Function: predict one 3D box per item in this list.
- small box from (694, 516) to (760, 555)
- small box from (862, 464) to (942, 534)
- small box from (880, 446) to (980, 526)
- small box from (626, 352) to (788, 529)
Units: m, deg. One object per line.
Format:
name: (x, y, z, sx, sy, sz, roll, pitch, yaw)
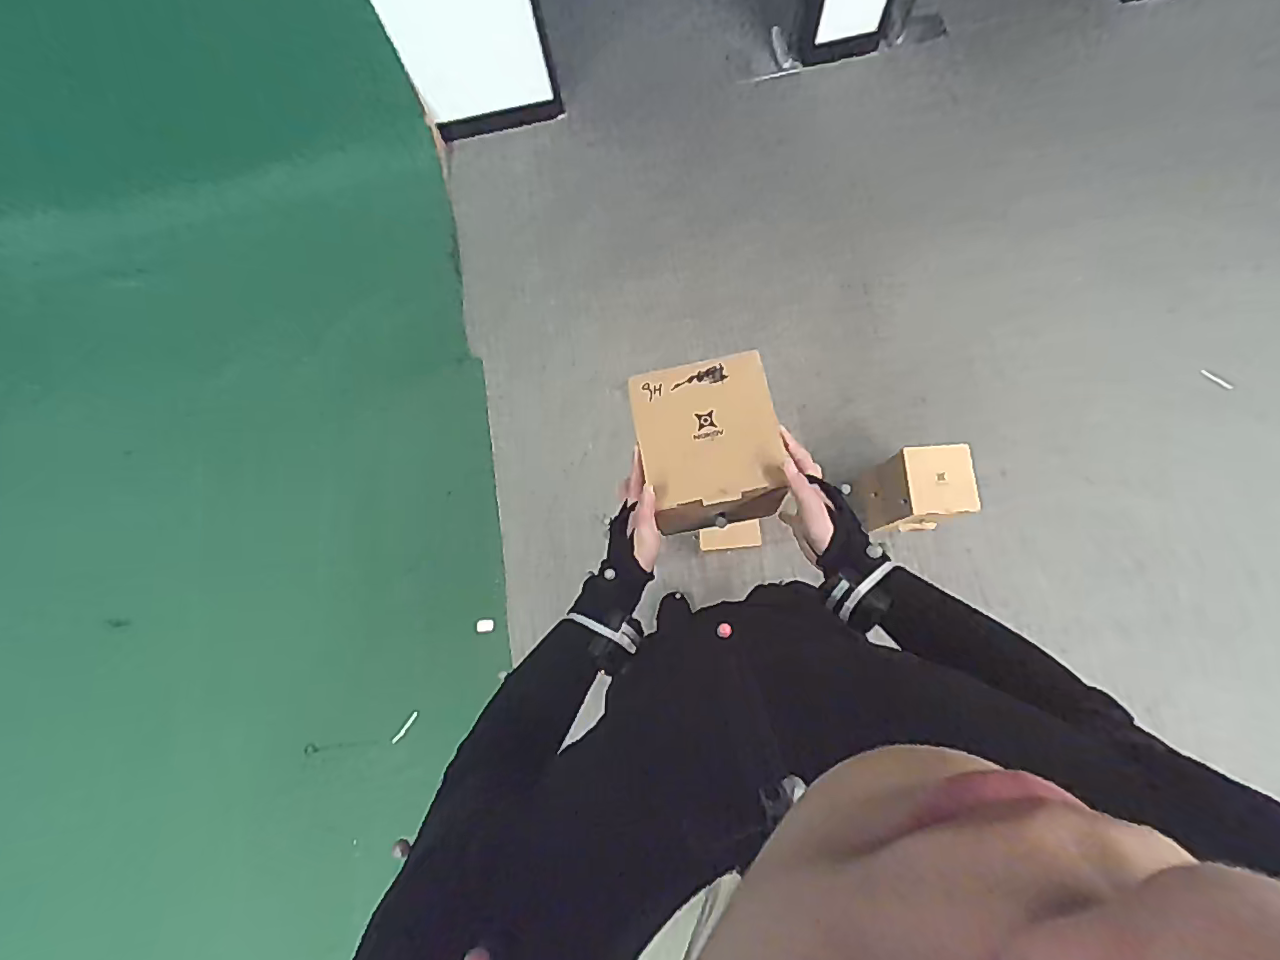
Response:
small box: (0.249, 0.131, 1.598, 0.179, 0.176, 0.168, -4, 78, 3)
small box: (0.754, 0.059, 1.575, 0.168, 0.176, 0.179, 1, 78, 7)
small box: (0.750, 0.020, 1.419, 0.168, 0.176, 0.179, -3, 78, 3)
small box: (0.086, -0.038, 0.707, 0.168, 0.176, 0.179, -11, 74, 4)
